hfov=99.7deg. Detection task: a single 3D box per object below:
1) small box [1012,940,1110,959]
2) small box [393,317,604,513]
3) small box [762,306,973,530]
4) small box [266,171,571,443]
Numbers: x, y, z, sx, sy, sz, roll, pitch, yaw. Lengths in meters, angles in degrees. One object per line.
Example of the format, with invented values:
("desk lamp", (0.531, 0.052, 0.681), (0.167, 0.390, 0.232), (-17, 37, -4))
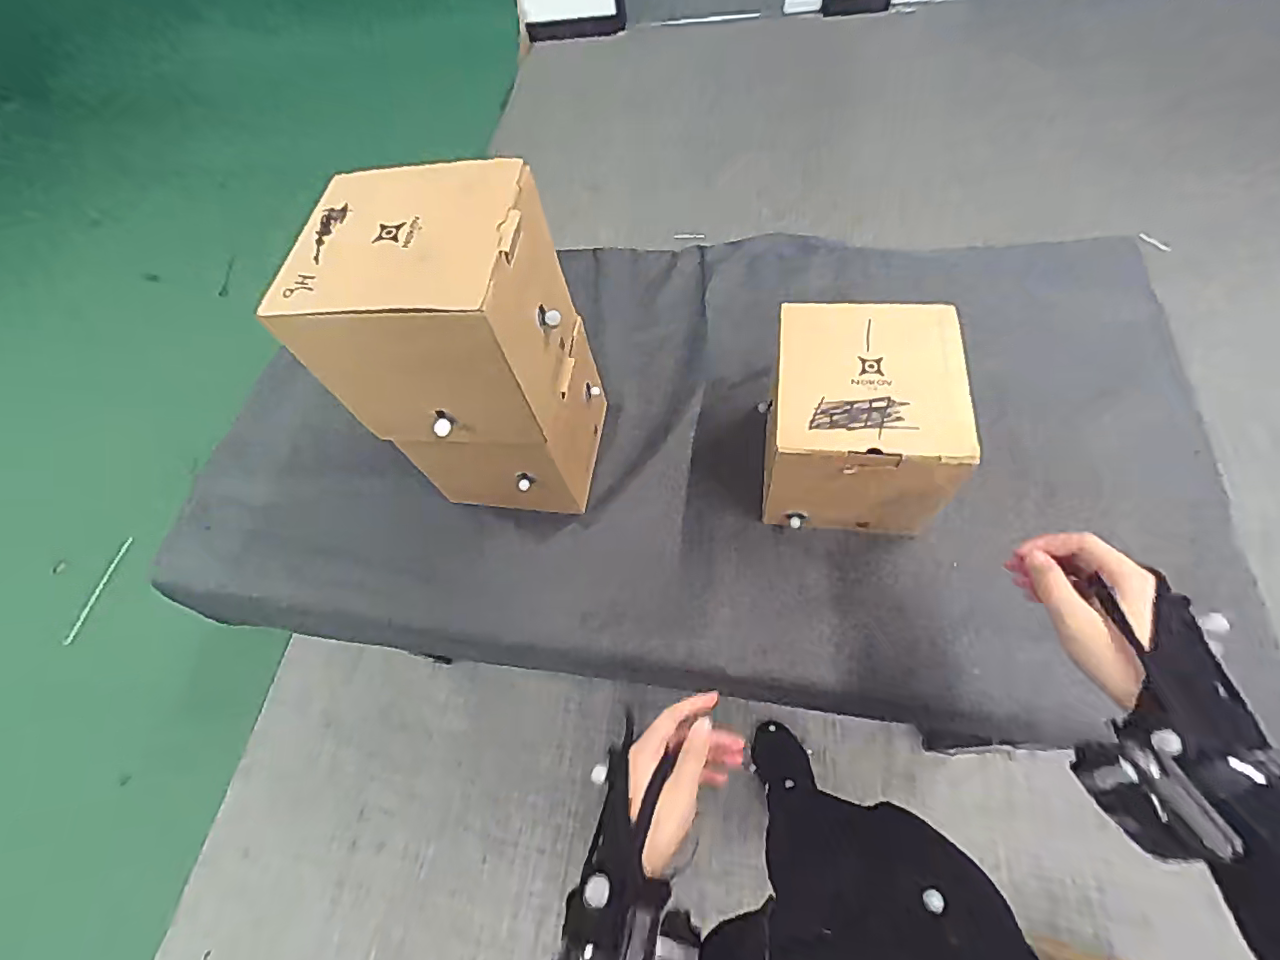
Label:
("small box", (0.720, 0.852, 0.838), (0.179, 0.176, 0.168), (5, 62, 11))
("small box", (-0.148, -0.071, 0.631), (0.179, 0.176, 0.168), (3, 61, 11))
("small box", (0.221, -0.059, 0.571), (0.168, 0.176, 0.179), (4, 62, 10))
("small box", (-0.170, -0.145, 0.486), (0.179, 0.176, 0.168), (2, 61, 8))
